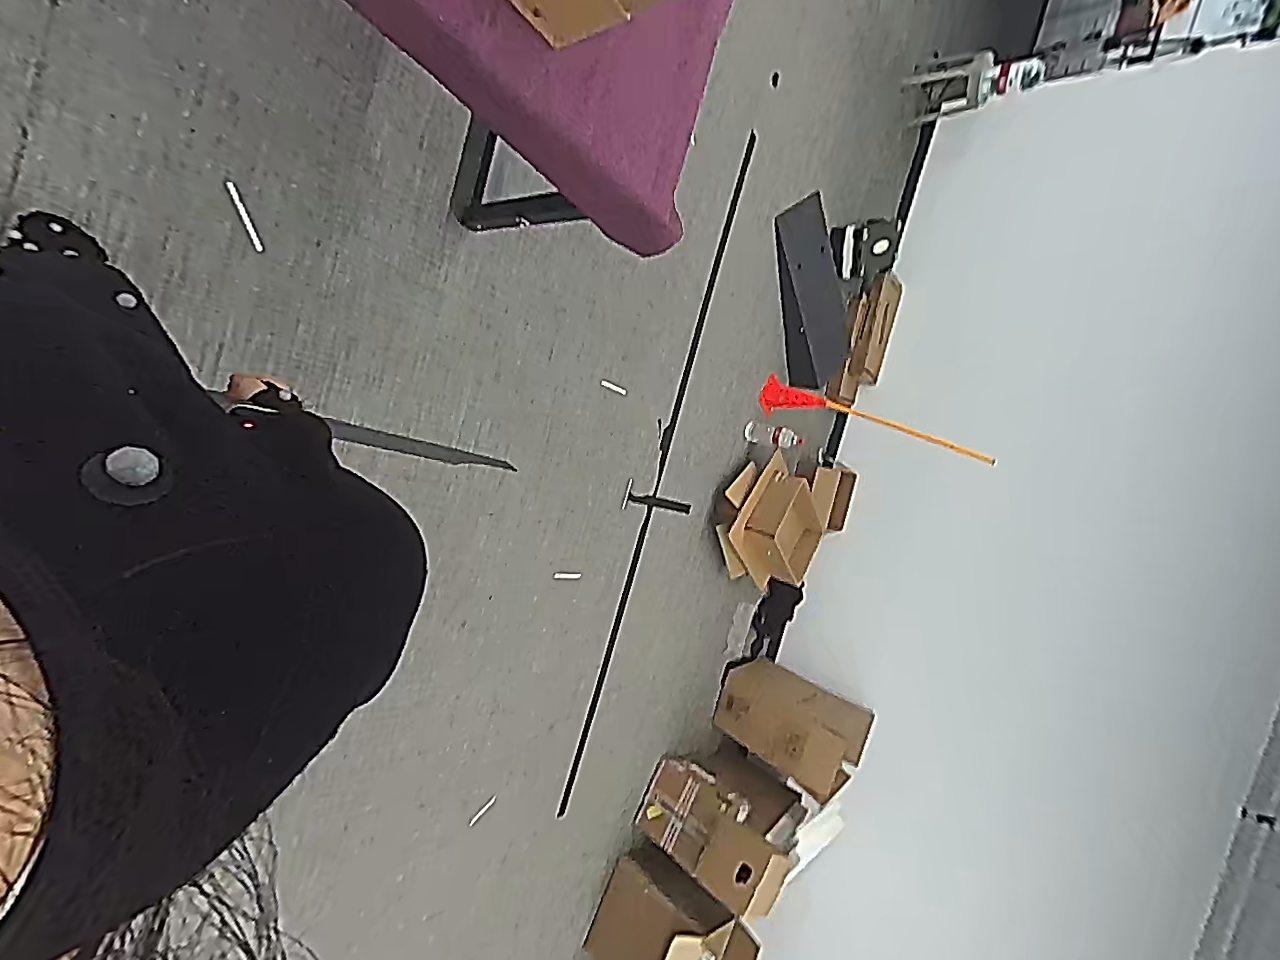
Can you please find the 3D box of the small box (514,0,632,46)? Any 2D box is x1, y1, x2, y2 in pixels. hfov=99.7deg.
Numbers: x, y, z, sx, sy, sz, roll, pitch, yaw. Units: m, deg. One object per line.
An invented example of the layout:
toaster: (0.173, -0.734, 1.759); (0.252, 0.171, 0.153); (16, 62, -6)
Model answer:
small box: (-0.101, -0.761, 0.751); (0.168, 0.176, 0.179); (14, 92, -51)
